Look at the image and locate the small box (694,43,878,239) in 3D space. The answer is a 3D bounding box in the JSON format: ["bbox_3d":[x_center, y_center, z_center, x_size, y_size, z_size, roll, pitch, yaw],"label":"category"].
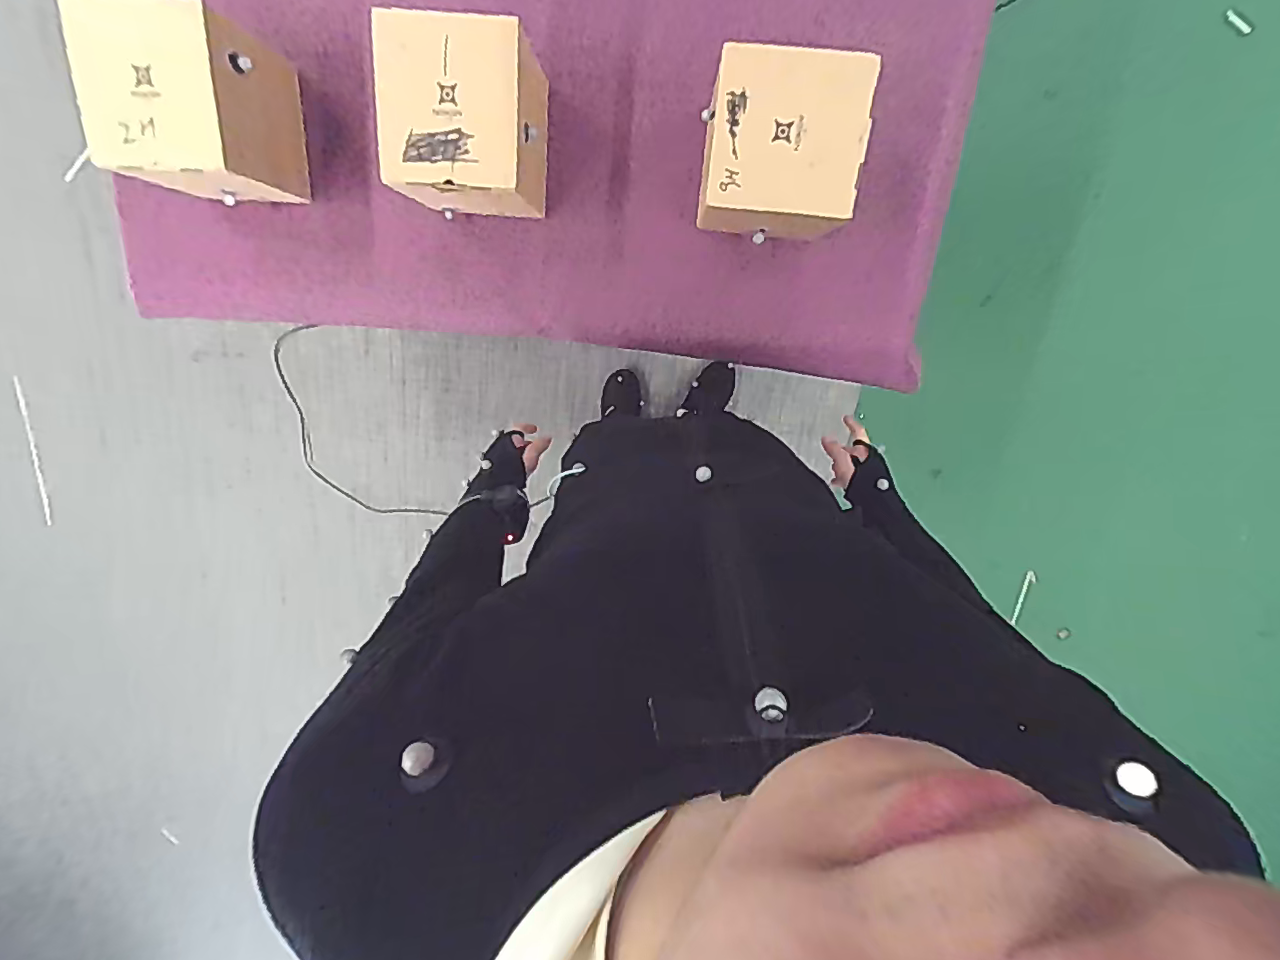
[{"bbox_3d":[0.169,-0.412,0.689,0.179,0.176,0.168,6,106,1],"label":"small box"}]

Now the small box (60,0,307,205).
[{"bbox_3d":[-0.567,-0.474,0.699,0.168,0.176,0.179,3,106,1],"label":"small box"}]

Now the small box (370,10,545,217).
[{"bbox_3d":[-0.220,-0.450,0.694,0.168,0.176,0.179,5,105,1],"label":"small box"}]
